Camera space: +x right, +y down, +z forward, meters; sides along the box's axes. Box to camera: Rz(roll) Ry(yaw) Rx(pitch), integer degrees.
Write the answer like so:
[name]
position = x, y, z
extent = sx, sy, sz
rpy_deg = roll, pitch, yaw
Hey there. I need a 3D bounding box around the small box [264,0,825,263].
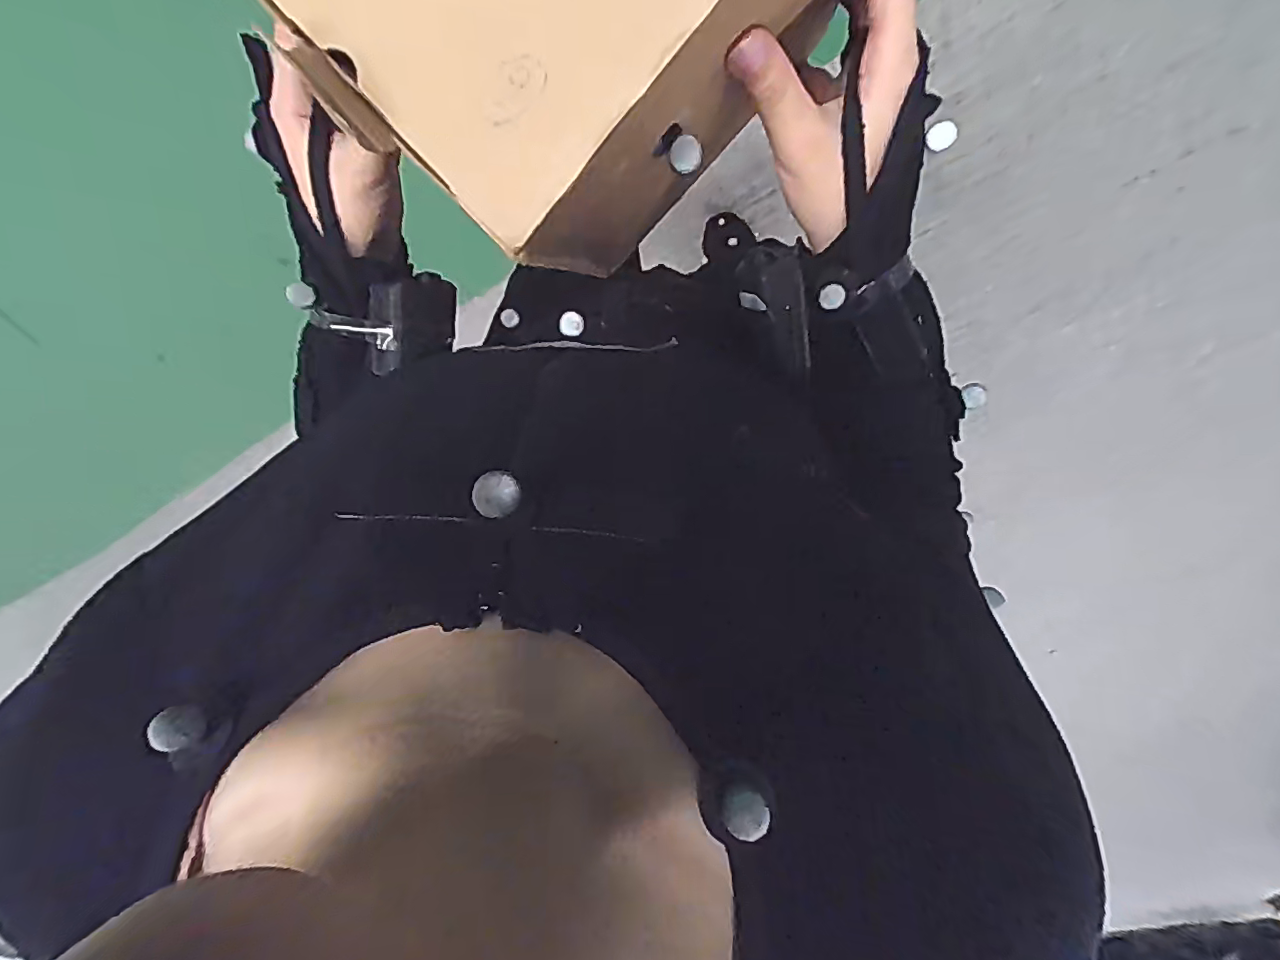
[small box]
position = -0.028, -0.217, 0.237
extent = 0.168, 0.176, 0.179
rpy_deg = 45, 110, -7
